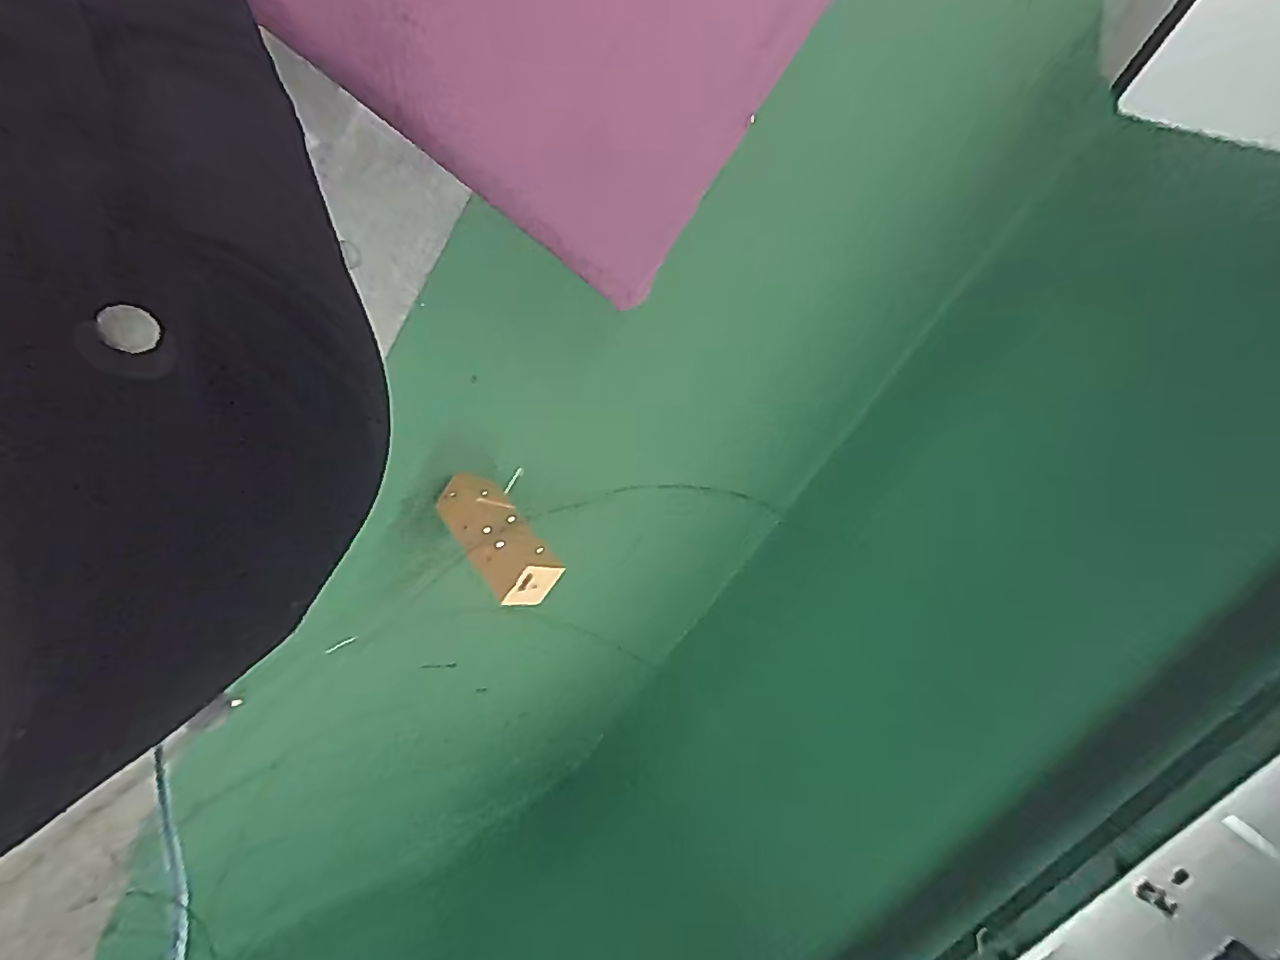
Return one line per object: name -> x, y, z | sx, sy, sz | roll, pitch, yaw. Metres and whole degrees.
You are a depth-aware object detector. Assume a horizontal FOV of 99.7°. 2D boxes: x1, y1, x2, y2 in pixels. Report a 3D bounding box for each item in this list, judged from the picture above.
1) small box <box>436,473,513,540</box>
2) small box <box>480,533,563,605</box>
small box -> -0.598, 0.095, 1.948 | 0.168, 0.176, 0.179 | -53, 145, 12
small box -> -0.394, 0.292, 1.779 | 0.168, 0.176, 0.179 | -53, 147, 13
